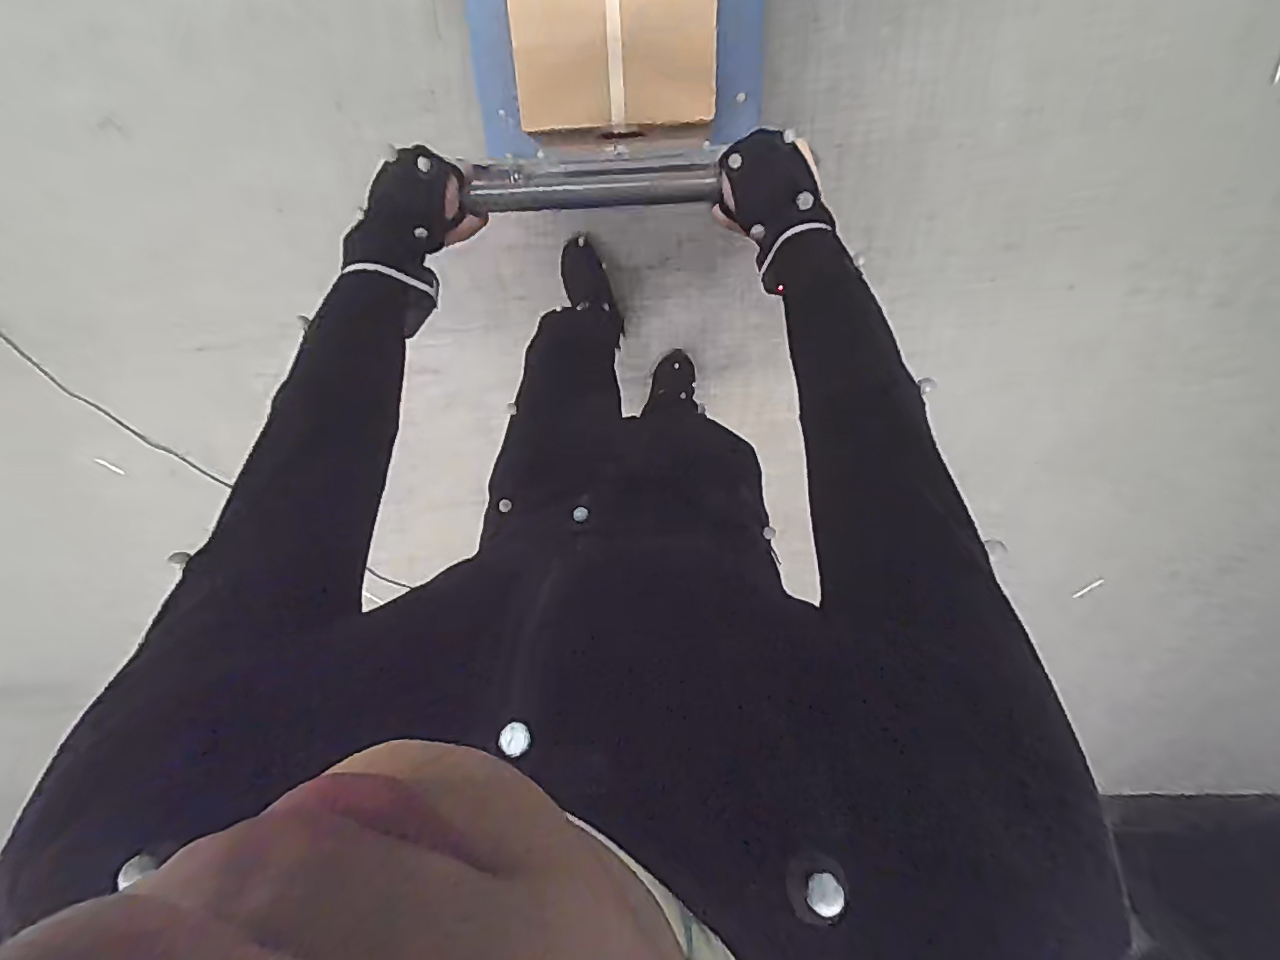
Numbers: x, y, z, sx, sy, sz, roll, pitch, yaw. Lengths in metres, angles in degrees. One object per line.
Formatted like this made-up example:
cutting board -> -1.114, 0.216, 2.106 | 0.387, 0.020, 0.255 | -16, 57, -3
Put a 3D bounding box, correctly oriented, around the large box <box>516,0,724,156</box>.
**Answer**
large box -> -0.025, -0.813, 0.922 | 0.320, 0.320, 0.408 | -1, 114, 3
